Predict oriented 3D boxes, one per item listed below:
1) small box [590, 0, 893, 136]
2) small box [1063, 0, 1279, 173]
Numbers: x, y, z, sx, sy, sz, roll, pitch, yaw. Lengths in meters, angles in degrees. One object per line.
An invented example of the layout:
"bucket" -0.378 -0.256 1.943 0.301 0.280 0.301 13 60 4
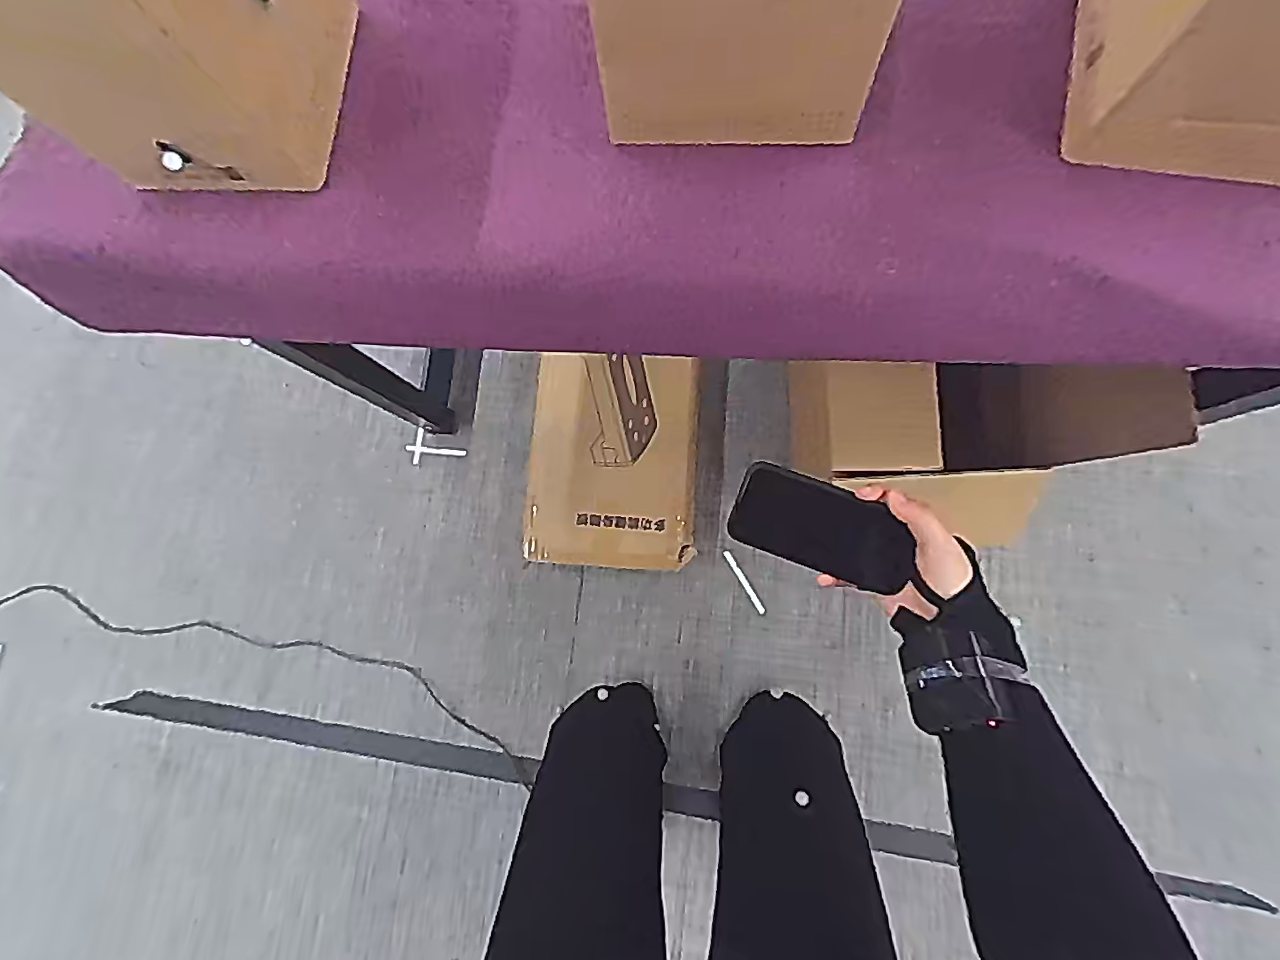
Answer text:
"small box" 0.064 -0.343 0.330 0.179 0.176 0.168 3 78 6
"small box" 0.377 -0.301 0.295 0.179 0.176 0.168 10 82 7
